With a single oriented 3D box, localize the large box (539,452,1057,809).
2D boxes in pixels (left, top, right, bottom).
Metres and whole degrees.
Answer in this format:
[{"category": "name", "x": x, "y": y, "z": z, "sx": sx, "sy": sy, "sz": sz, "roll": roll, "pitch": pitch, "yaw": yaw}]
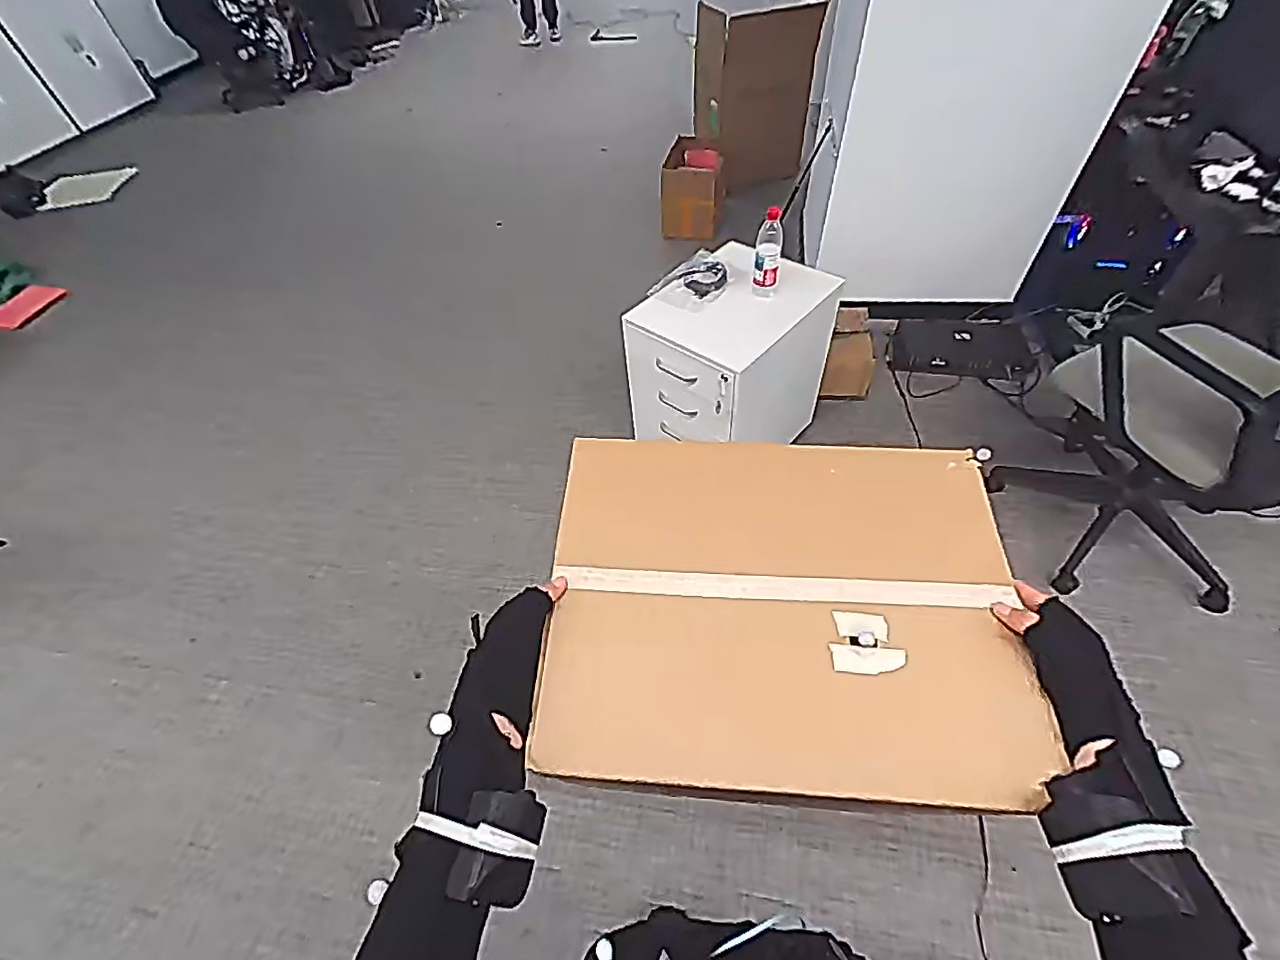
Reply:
[{"category": "large box", "x": 0.129, "y": 0.183, "z": 0.617, "sx": 0.408, "sy": 0.320, "sz": 0.320, "roll": 2, "pitch": 60, "yaw": 4}]
